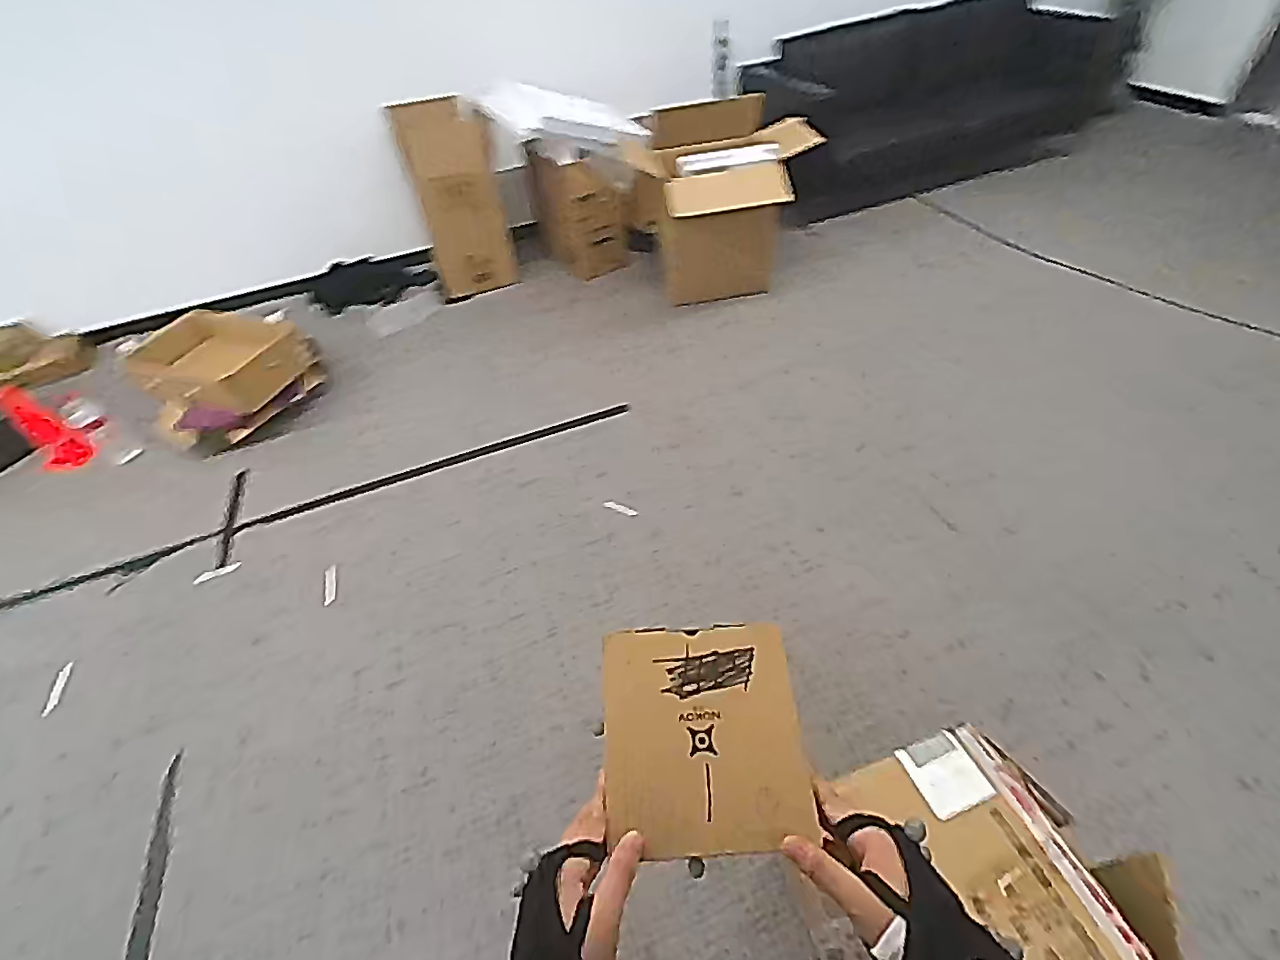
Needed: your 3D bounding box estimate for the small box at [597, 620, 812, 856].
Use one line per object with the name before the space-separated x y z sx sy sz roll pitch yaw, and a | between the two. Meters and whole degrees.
small box | 0.045 0.253 0.524 0.168 0.176 0.179 -4 56 -2
